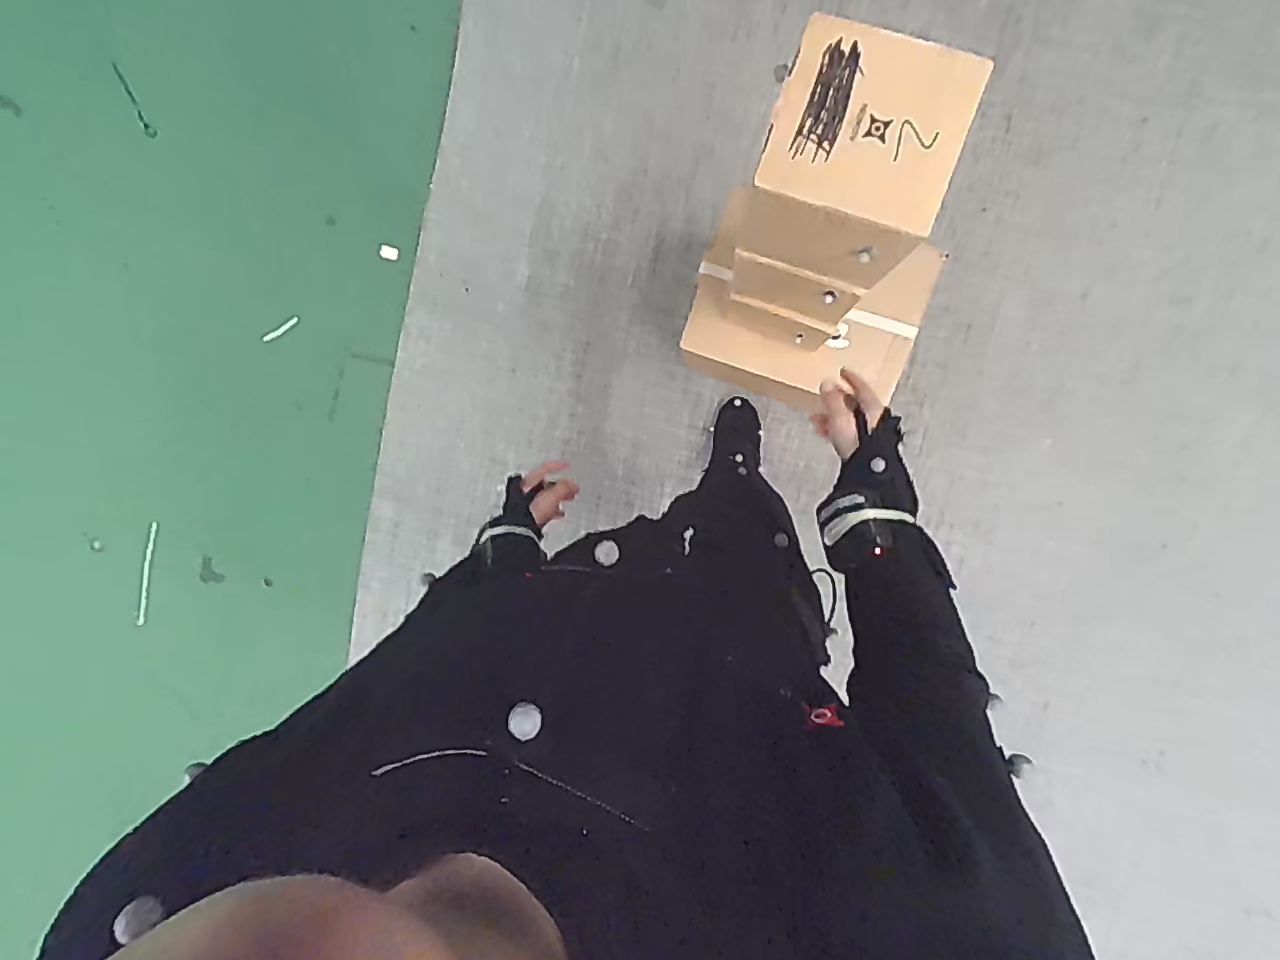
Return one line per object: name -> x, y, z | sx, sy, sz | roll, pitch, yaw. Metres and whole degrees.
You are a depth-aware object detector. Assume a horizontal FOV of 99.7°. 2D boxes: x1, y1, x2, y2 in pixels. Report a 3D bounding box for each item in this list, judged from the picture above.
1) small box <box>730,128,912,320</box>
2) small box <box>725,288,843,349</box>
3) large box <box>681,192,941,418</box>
small box -> 0.232, -0.337, 0.747 | 0.179, 0.176, 0.168 | 19, 95, 5
small box -> 0.252, -0.331, 0.909 | 0.179, 0.176, 0.168 | 20, 95, 6
large box -> 0.322, -0.340, 1.144 | 0.408, 0.320, 0.320 | 19, 97, 4
